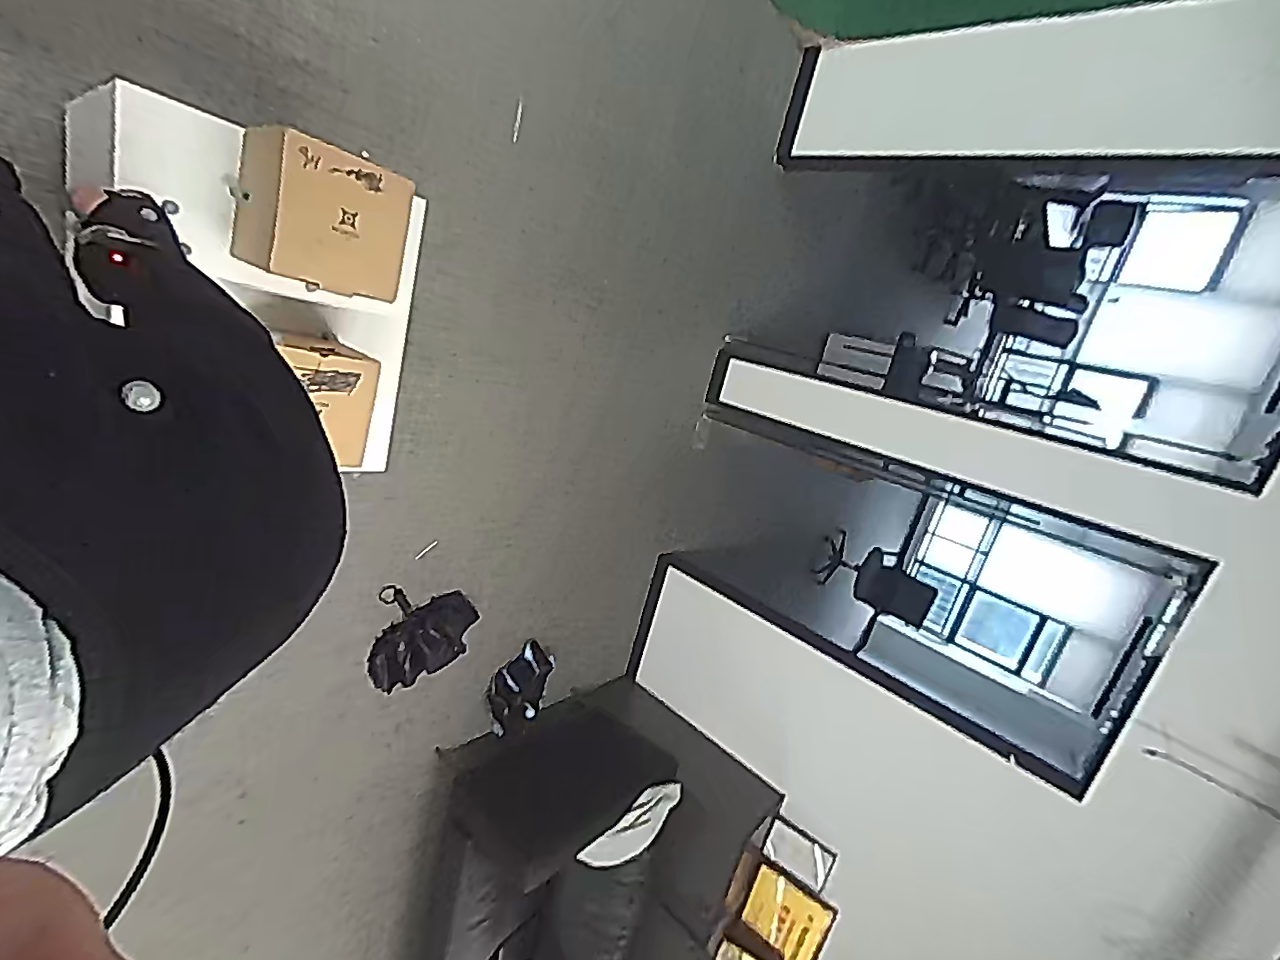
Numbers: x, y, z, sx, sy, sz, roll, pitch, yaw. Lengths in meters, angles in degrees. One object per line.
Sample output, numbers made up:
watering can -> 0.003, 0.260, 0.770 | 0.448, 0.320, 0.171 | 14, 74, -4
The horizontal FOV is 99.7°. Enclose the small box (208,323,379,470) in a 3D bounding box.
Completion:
small box -> -0.527, -0.126, 0.821 | 0.168, 0.176, 0.179 | 1, 111, -51

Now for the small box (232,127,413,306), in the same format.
small box -> -0.453, -0.368, 0.764 | 0.168, 0.176, 0.179 | -2, 114, -51
